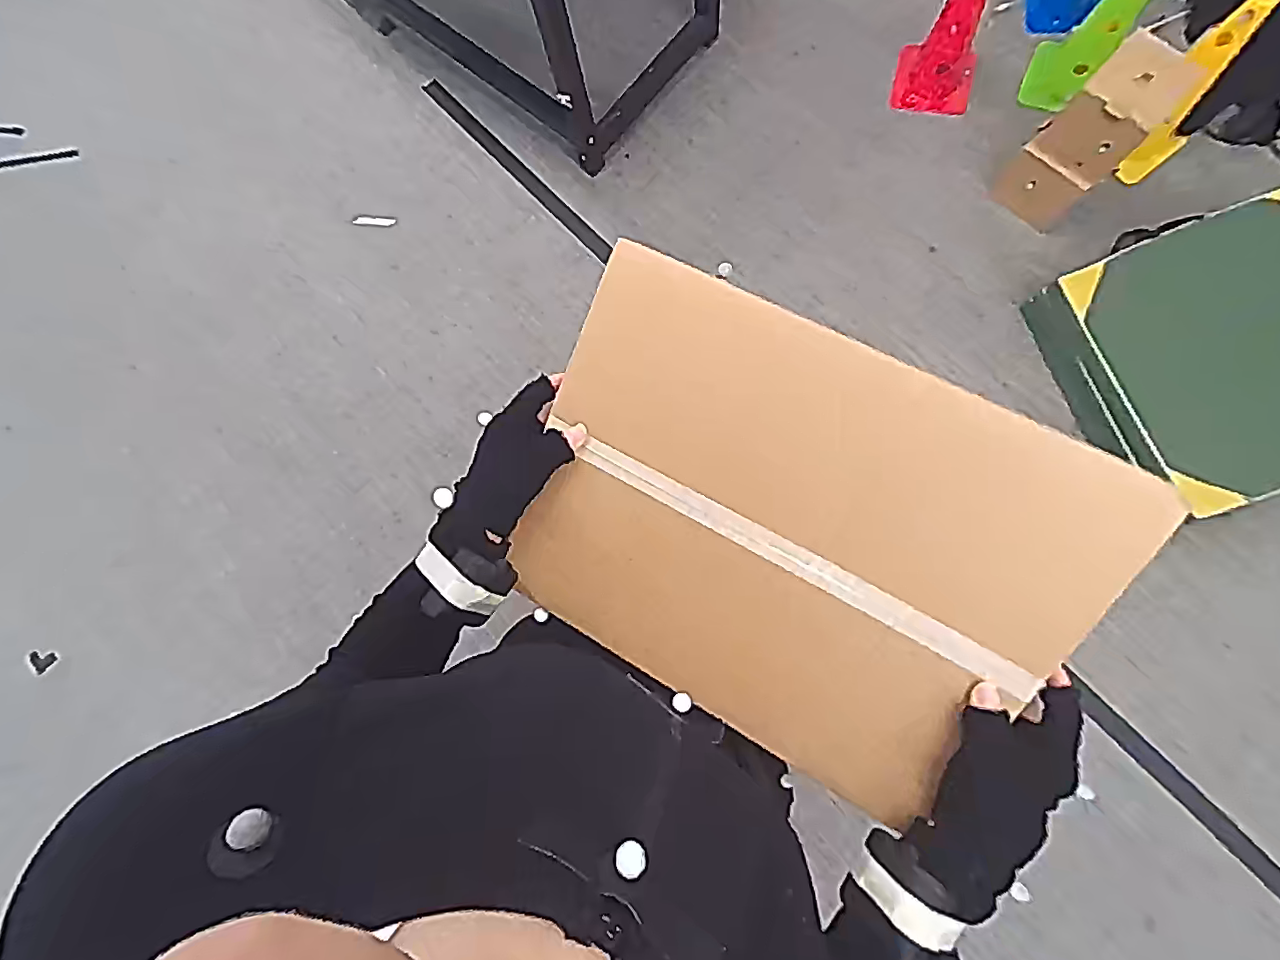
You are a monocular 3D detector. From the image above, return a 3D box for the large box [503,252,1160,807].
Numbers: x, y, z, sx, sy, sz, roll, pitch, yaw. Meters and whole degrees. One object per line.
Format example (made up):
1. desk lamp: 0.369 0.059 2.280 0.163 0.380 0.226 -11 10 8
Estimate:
1. large box: 0.143 0.013 0.561 0.408 0.320 0.320 29 110 12
